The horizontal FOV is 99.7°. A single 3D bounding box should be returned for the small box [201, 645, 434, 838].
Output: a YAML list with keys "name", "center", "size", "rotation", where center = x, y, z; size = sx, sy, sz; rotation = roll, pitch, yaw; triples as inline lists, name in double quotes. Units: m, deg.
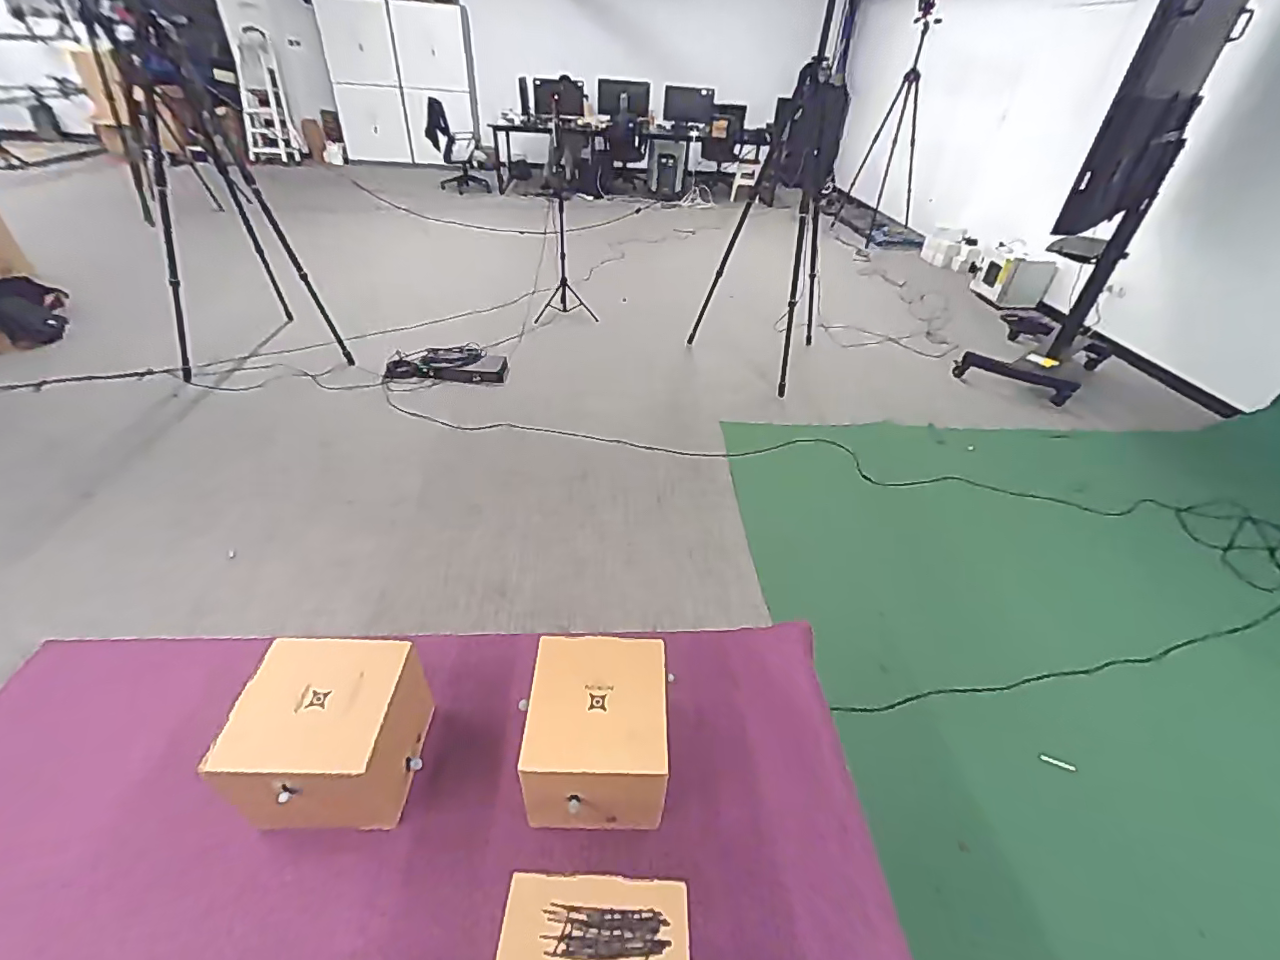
- name: "small box"
  center: [-0.382, 0.330, 0.683]
  size: [0.179, 0.176, 0.168]
  rotation: [3, 38, -2]

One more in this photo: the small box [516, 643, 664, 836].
- name: "small box"
  center: [-0.054, 0.335, 0.699]
  size: [0.168, 0.176, 0.179]
  rotation: [2, 37, -1]
